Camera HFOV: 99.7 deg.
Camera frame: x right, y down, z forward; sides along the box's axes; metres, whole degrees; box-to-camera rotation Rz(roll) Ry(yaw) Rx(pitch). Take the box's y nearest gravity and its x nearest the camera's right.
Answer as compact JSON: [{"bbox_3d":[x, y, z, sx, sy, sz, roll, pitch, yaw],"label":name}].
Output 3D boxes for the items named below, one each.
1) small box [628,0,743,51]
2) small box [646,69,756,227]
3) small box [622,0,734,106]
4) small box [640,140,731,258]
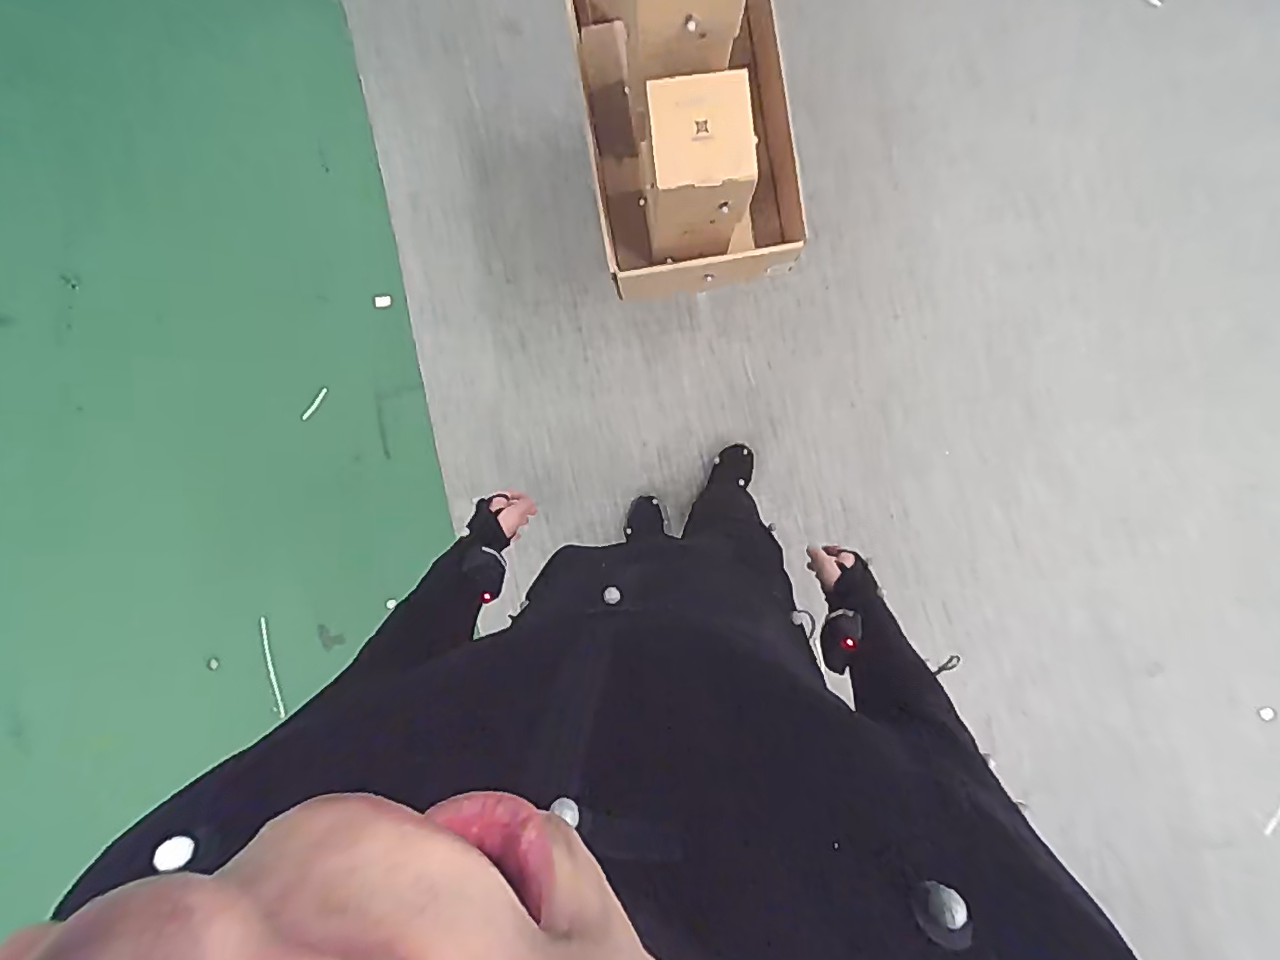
[{"bbox_3d":[0.059,-0.775,0.777,0.168,0.176,0.179,-10,94,2],"label":"small box"},{"bbox_3d":[0.100,-0.561,0.941,0.168,0.176,0.179,-6,90,1],"label":"small box"},{"bbox_3d":[0.059,-0.799,0.941,0.168,0.176,0.179,-9,94,1],"label":"small box"},{"bbox_3d":[0.094,-0.571,1.104,0.168,0.176,0.179,-8,90,1],"label":"small box"}]
